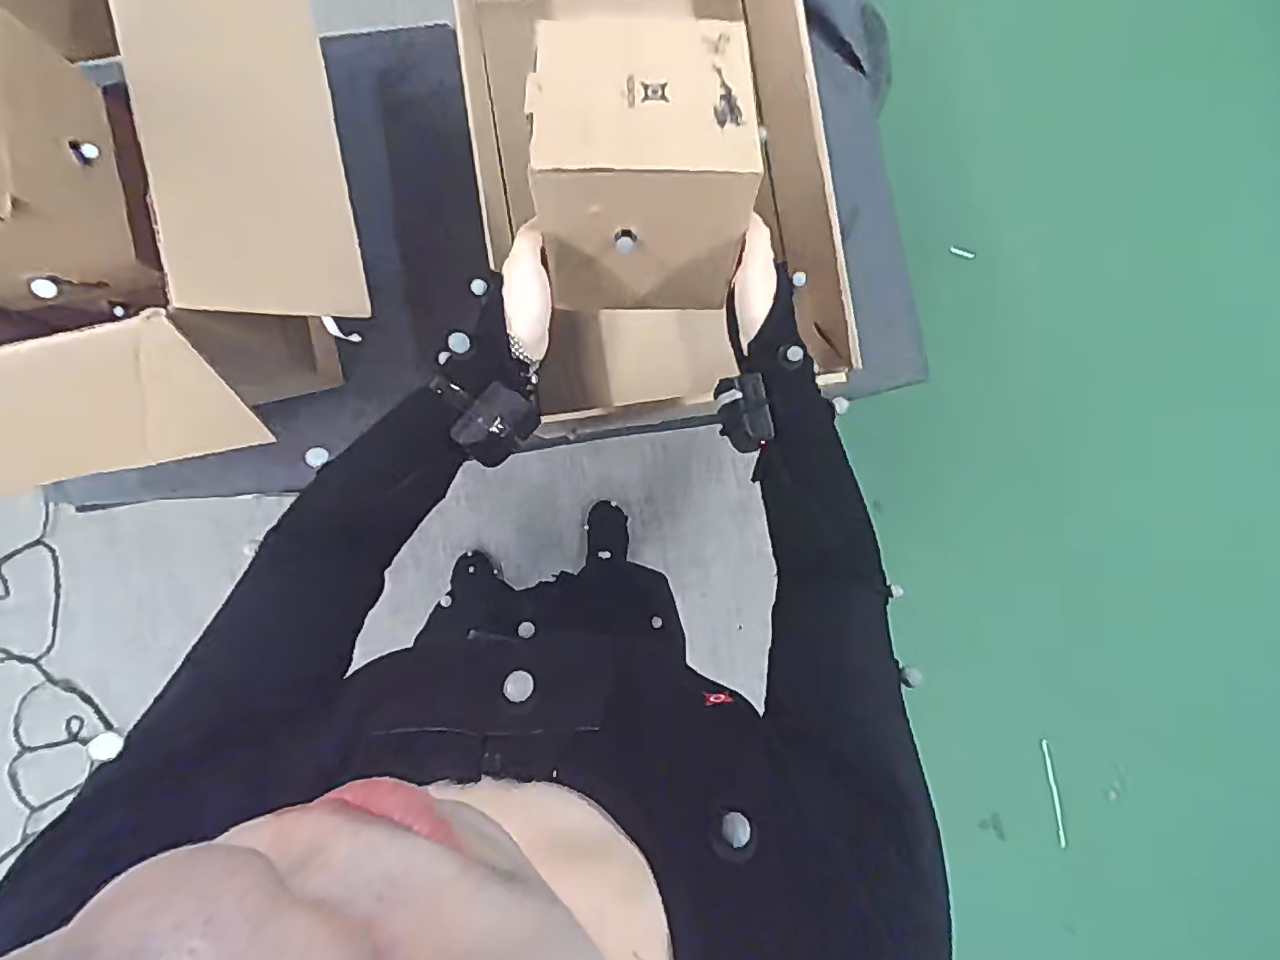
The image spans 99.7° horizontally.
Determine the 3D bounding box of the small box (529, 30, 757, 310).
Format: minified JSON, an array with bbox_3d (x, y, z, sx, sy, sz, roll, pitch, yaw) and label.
[{"bbox_3d":[0.000,-0.277,0.509,0.179,0.176,0.168,-1,72,-2],"label":"small box"}]
